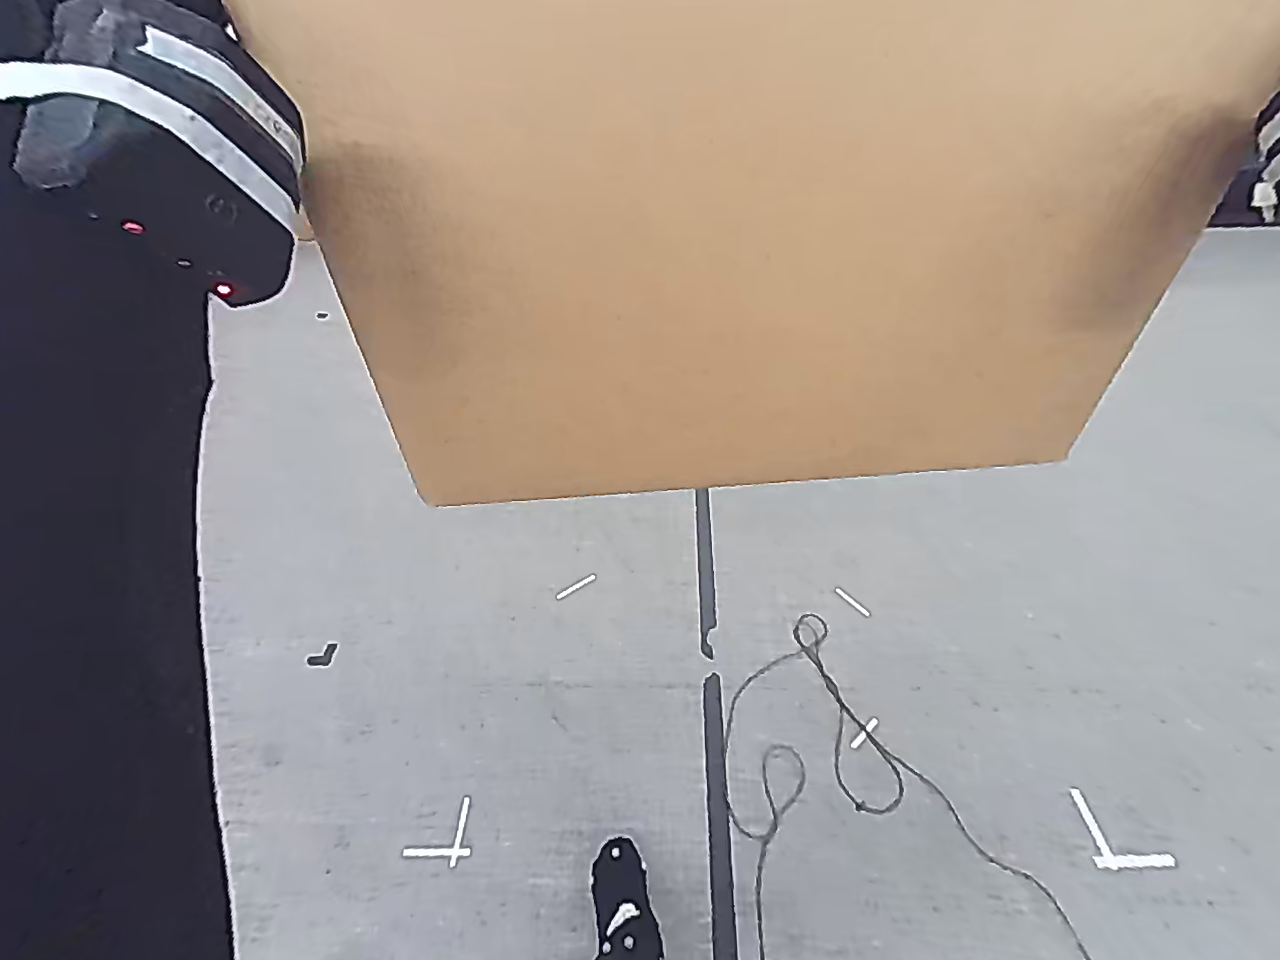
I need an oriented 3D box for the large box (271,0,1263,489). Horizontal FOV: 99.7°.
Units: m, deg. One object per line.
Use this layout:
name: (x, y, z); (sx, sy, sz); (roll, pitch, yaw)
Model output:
large box: (0.048, -0.216, 0.370); (0.408, 0.320, 0.320); (-4, 40, -3)
